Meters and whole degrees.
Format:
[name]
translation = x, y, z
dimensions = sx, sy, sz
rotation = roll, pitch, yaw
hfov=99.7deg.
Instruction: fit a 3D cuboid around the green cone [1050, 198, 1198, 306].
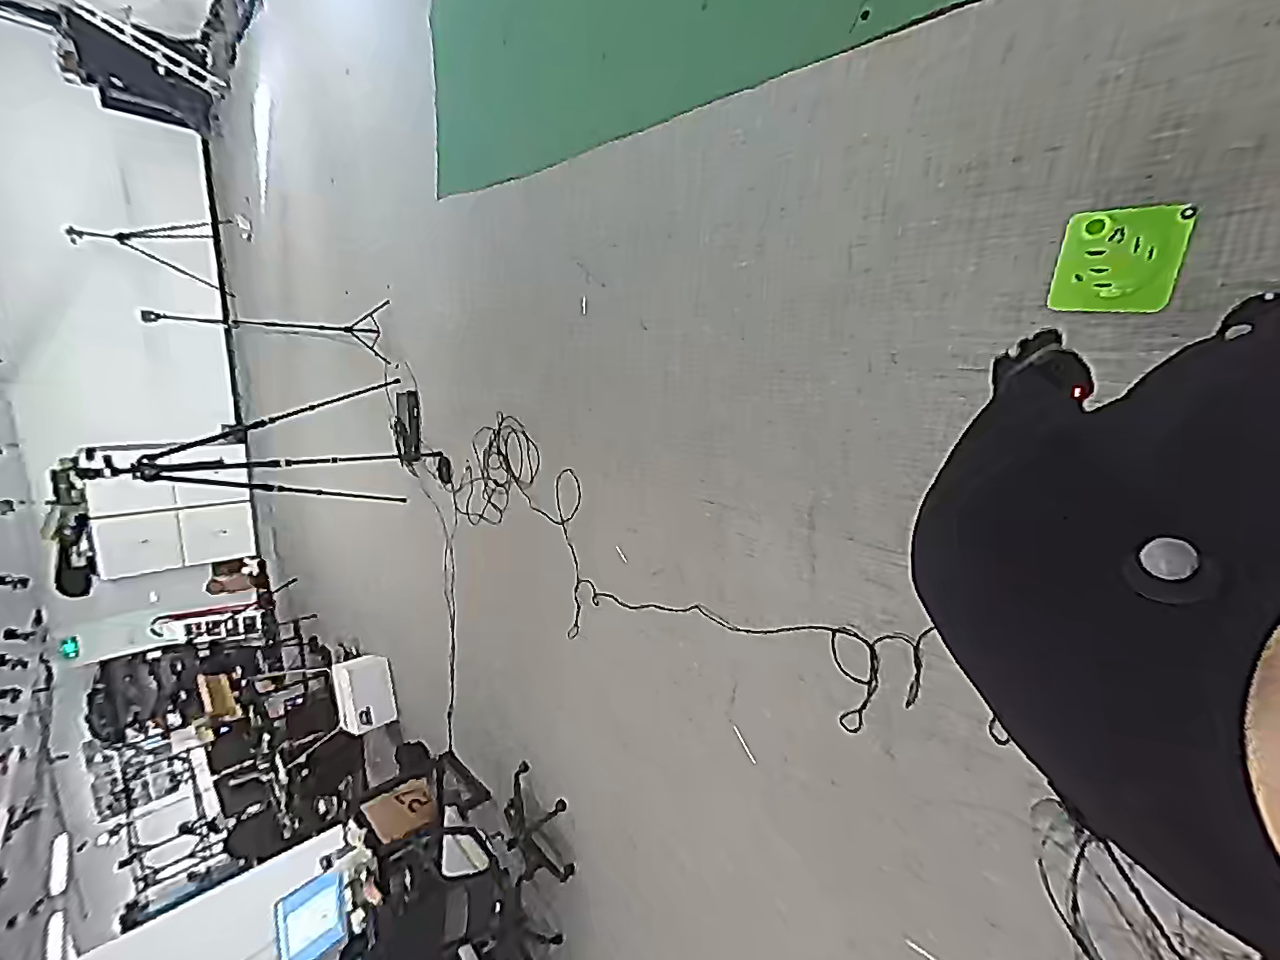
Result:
[green cone]
translation = 0.863, -0.440, 0.996
dimensions = 0.200, 0.368, 0.202
rotation = 18, 111, 43
